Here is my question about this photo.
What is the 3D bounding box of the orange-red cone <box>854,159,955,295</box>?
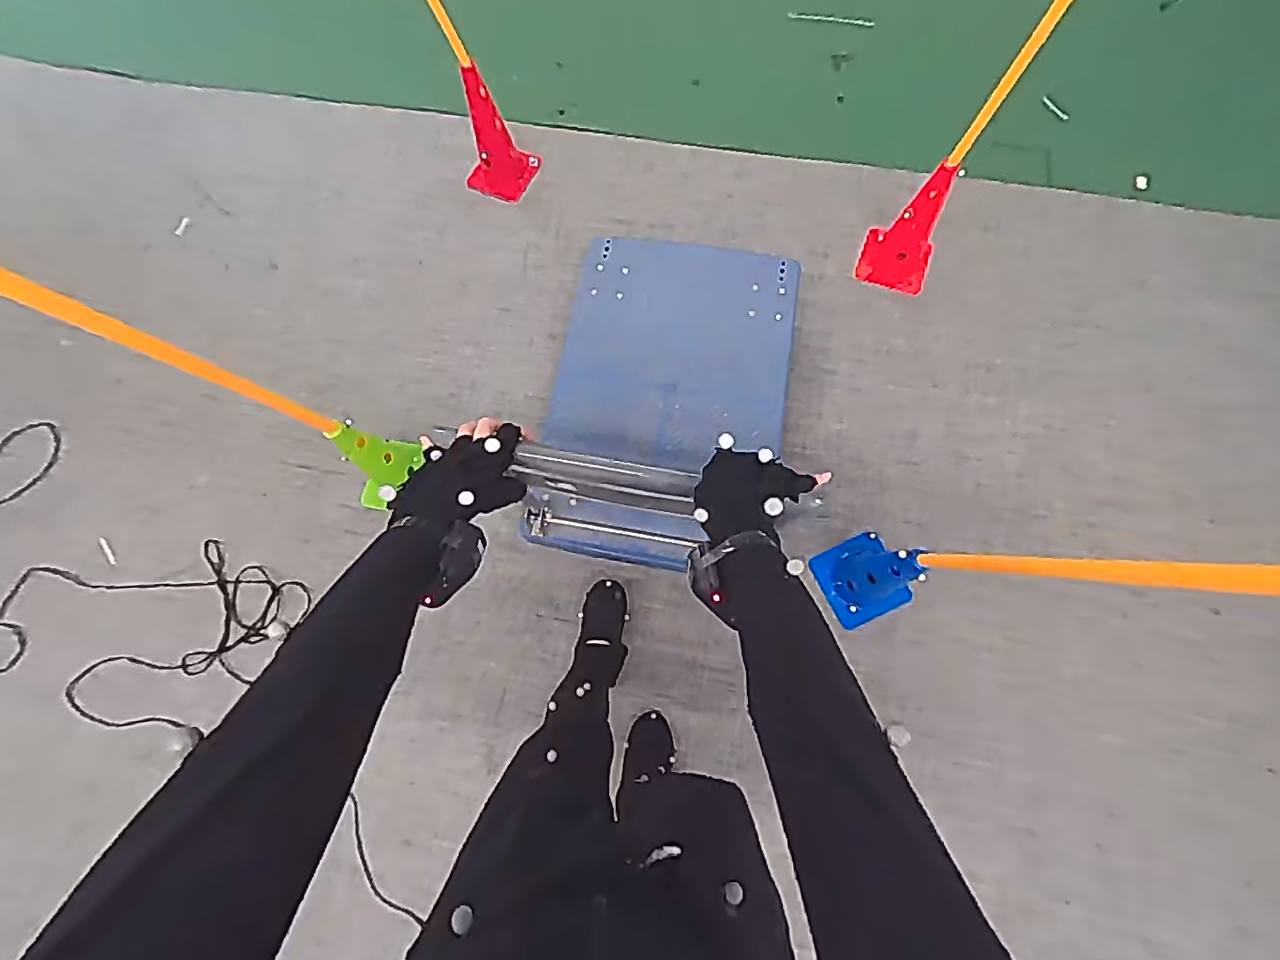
[{"bbox_3d":[0.760,-0.715,1.483,0.198,0.360,0.199,21,76,9],"label":"orange-red cone"}]
